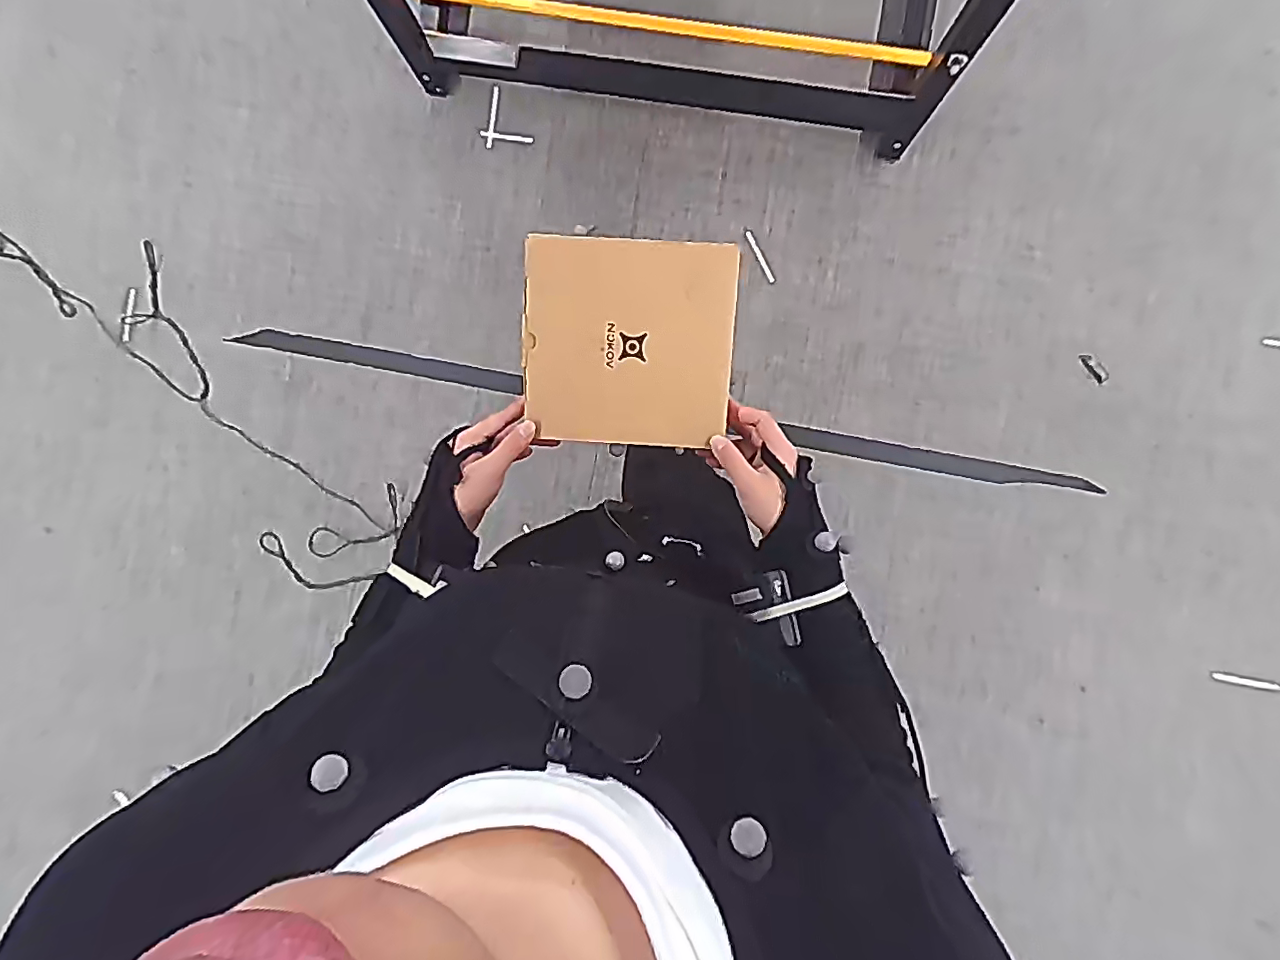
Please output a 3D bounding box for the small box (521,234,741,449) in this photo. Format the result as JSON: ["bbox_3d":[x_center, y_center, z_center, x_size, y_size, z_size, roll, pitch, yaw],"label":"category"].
[{"bbox_3d":[-0.007,-0.128,0.520,0.179,0.176,0.168,3,102,3],"label":"small box"}]
